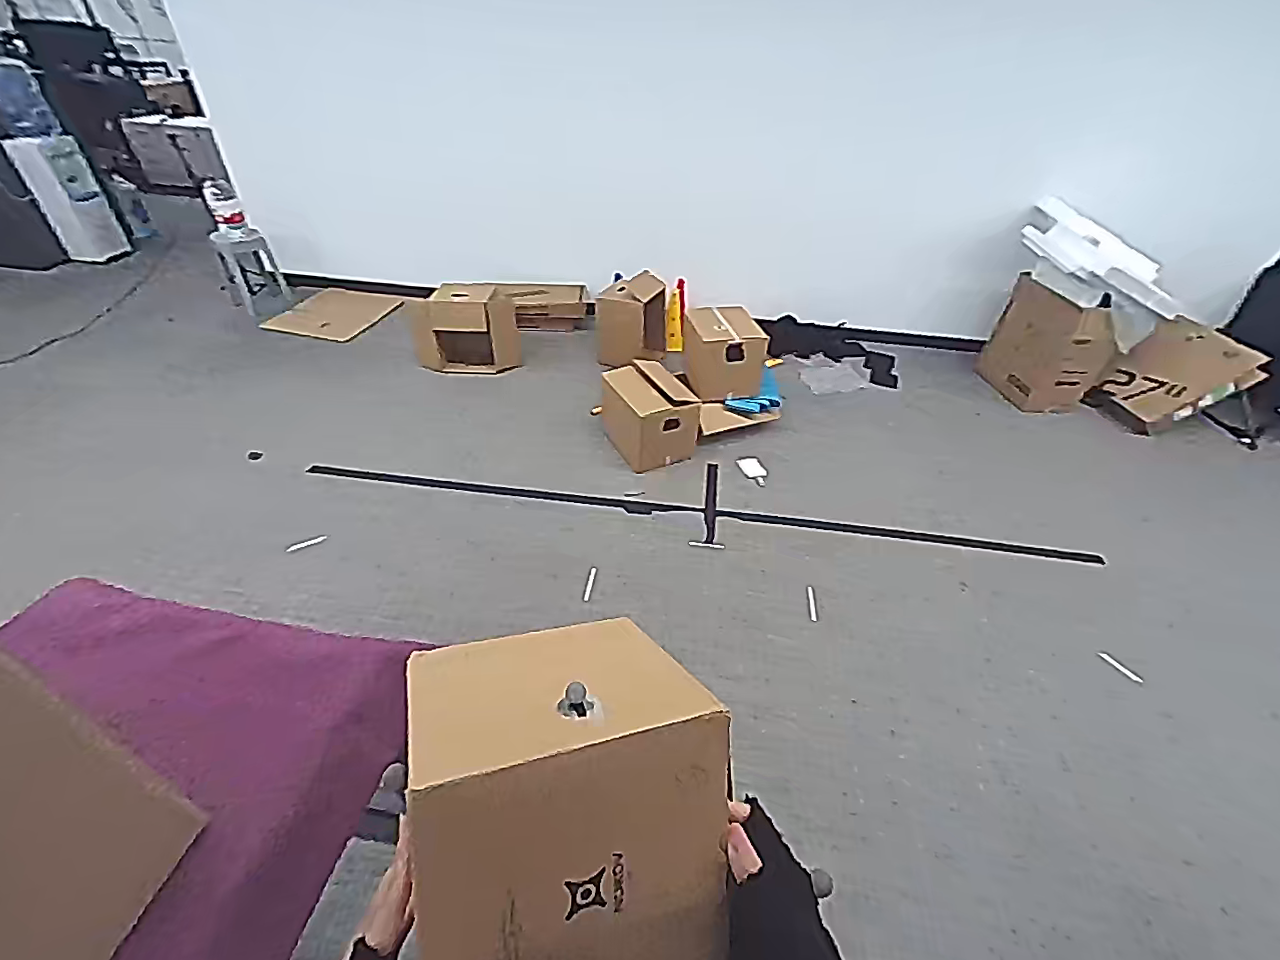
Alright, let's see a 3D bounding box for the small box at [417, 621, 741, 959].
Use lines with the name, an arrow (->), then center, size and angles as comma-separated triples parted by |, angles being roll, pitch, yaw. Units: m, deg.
small box -> -0.051, 0.206, 0.363 | 0.179, 0.168, 0.176 | -4, 5, -22
